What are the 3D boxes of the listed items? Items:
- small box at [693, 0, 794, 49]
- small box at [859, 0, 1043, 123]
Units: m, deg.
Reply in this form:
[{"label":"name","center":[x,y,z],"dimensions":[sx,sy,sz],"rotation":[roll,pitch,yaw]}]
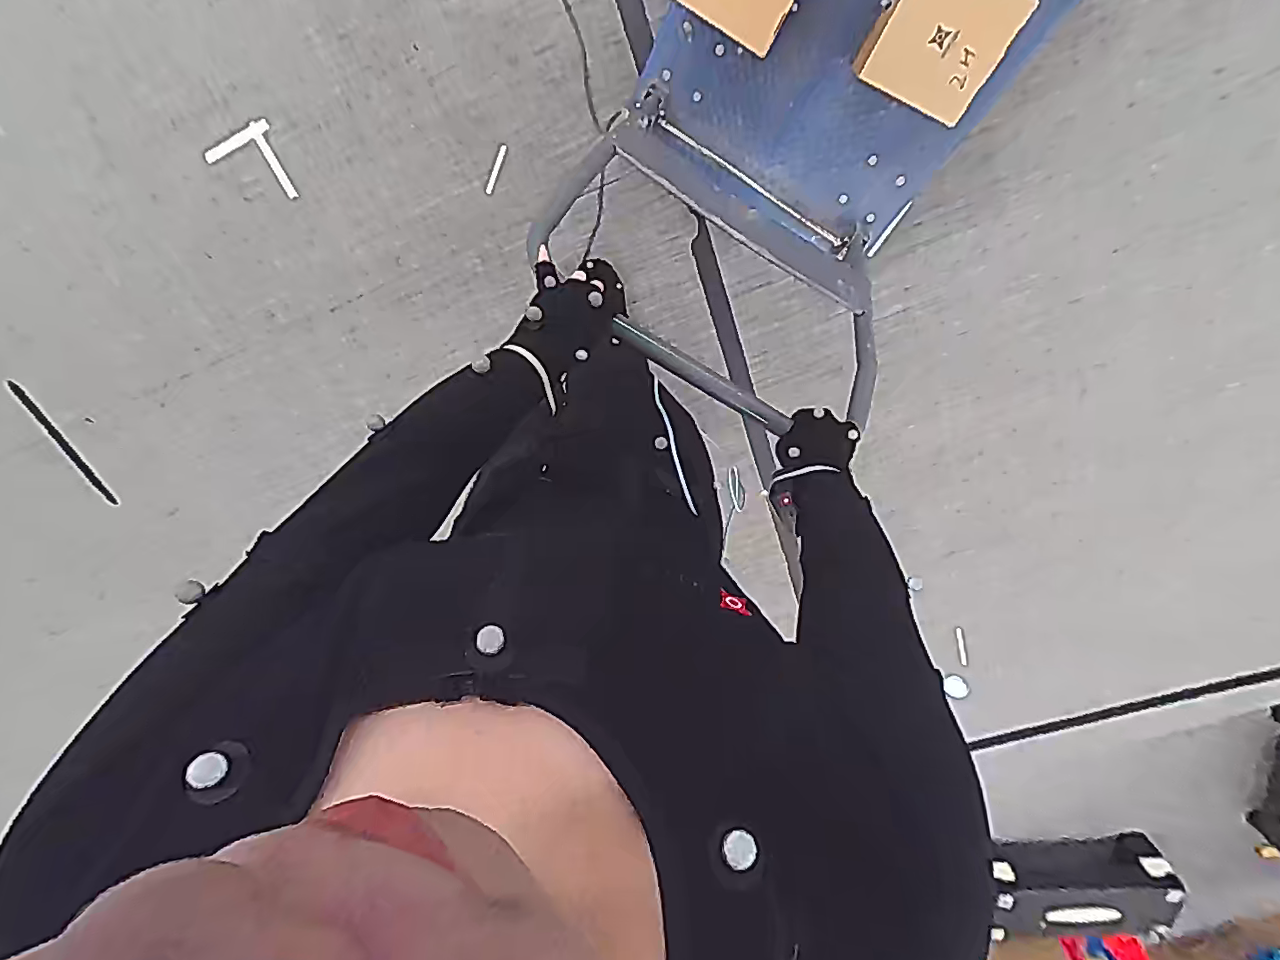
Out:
[{"label":"small box","center":[0.172,-0.809,0.833],"dimensions":[0.179,0.176,0.168],"rotation":[26,133,-9]},{"label":"small box","center":[0.464,-0.696,0.843],"dimensions":[0.179,0.176,0.168],"rotation":[25,134,-5]}]
